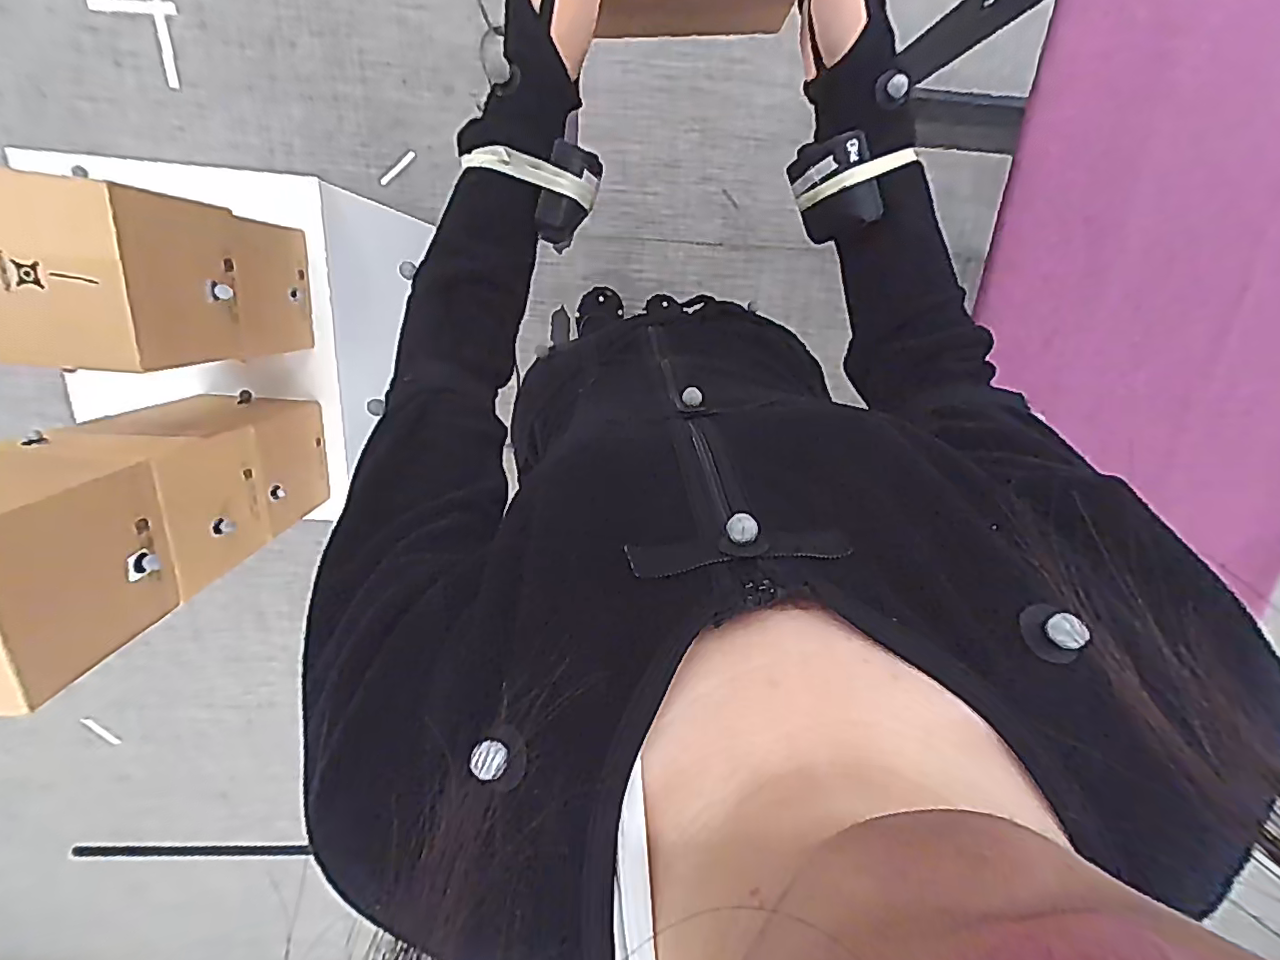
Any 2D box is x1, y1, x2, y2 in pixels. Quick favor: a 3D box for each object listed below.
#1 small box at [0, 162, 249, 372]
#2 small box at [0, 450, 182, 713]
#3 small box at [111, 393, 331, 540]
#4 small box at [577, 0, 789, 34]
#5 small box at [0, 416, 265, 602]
[{"bbox_3d":[-0.541,-0.209,0.542,0.179,0.176,0.168,5,109,-6],"label":"small box"},{"bbox_3d":[-0.561,0.075,0.468,0.179,0.176,0.168,2,109,-4],"label":"small box"},{"bbox_3d":[-0.580,-0.027,0.776,0.179,0.176,0.168,3,109,-4],"label":"small box"},{"bbox_3d":[0.037,-0.435,0.363,0.179,0.176,0.168,-1,109,1],"label":"small box"},{"bbox_3d":[-0.568,0.025,0.623,0.179,0.176,0.168,2,109,-4],"label":"small box"}]
